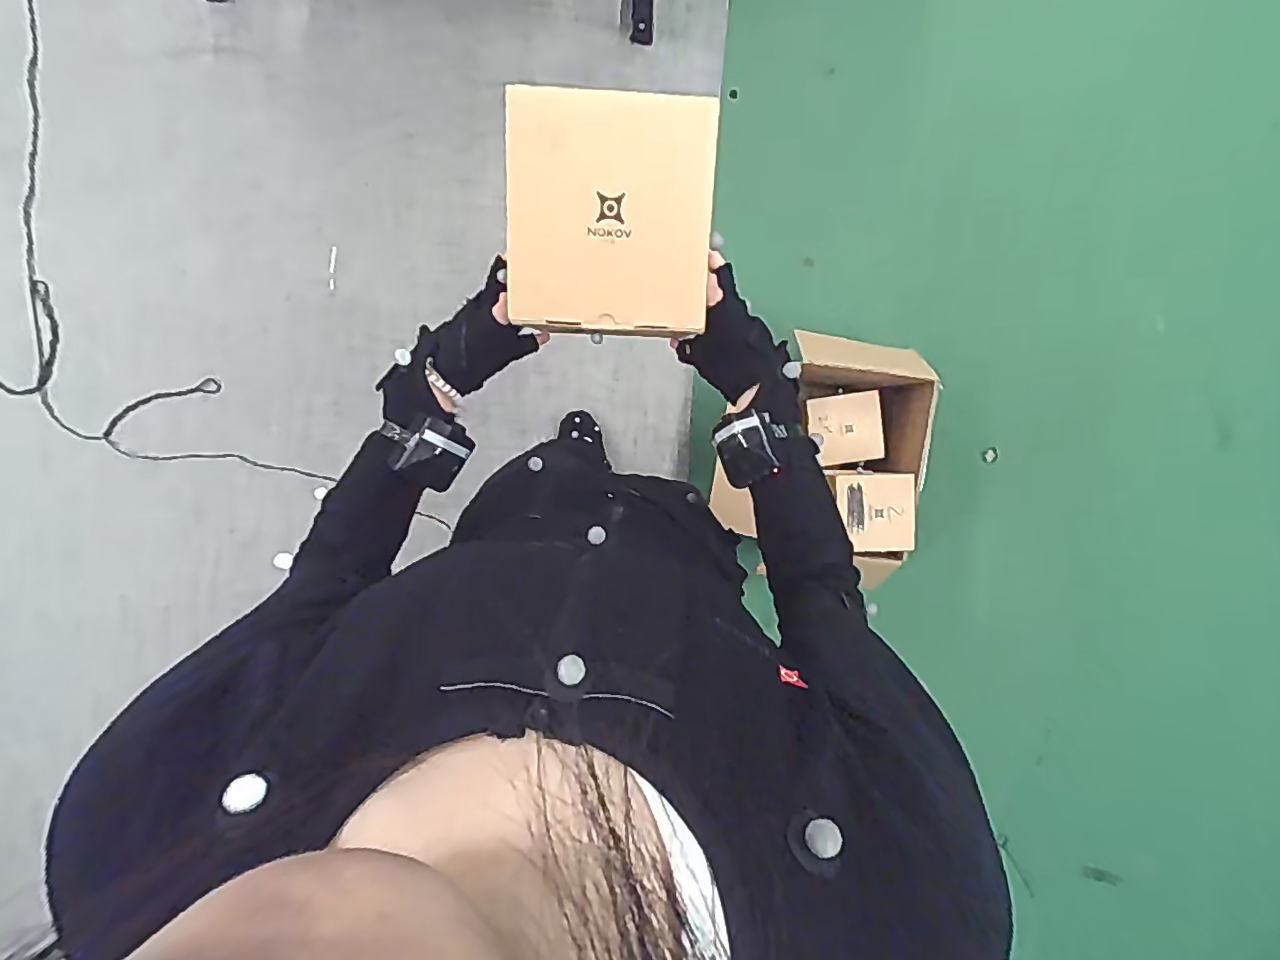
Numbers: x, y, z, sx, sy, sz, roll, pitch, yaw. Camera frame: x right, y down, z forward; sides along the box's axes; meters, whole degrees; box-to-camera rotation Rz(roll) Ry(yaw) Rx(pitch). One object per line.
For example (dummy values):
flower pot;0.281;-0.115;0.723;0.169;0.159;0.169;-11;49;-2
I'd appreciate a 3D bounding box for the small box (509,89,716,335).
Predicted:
small box;-0.030;-0.235;0.521;0.168;0.176;0.179;2;105;-3
